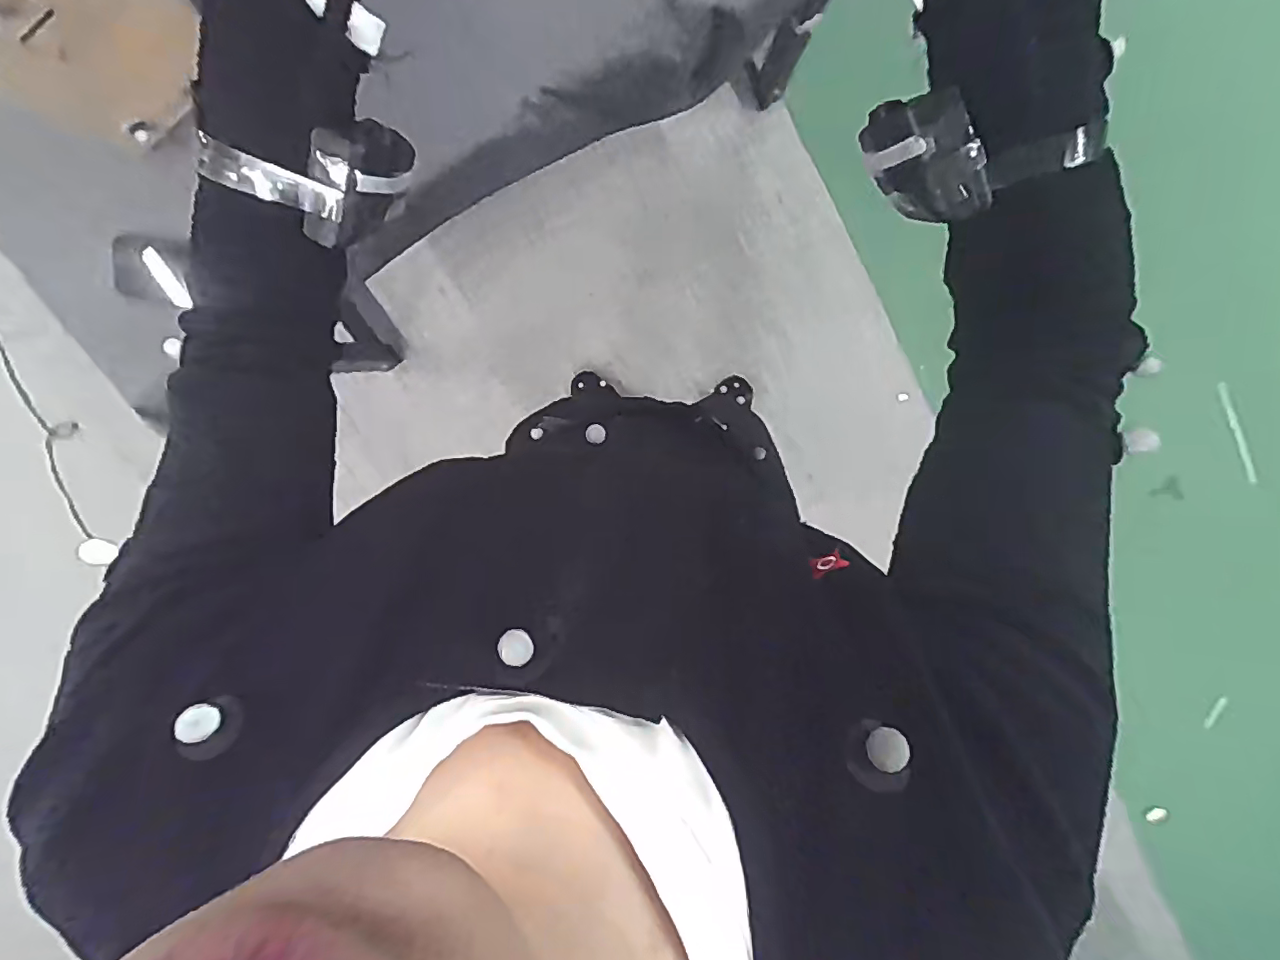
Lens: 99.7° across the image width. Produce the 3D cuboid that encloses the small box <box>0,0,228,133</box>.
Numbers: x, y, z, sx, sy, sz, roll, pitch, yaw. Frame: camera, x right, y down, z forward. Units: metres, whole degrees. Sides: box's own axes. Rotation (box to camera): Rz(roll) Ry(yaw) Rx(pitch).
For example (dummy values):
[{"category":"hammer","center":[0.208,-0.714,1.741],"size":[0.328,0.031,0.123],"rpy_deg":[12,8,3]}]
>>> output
[{"category":"small box","center":[-0.582,-0.491,0.545],"size":[0.168,0.176,0.179],"rpy_deg":[-35,99,7]}]
